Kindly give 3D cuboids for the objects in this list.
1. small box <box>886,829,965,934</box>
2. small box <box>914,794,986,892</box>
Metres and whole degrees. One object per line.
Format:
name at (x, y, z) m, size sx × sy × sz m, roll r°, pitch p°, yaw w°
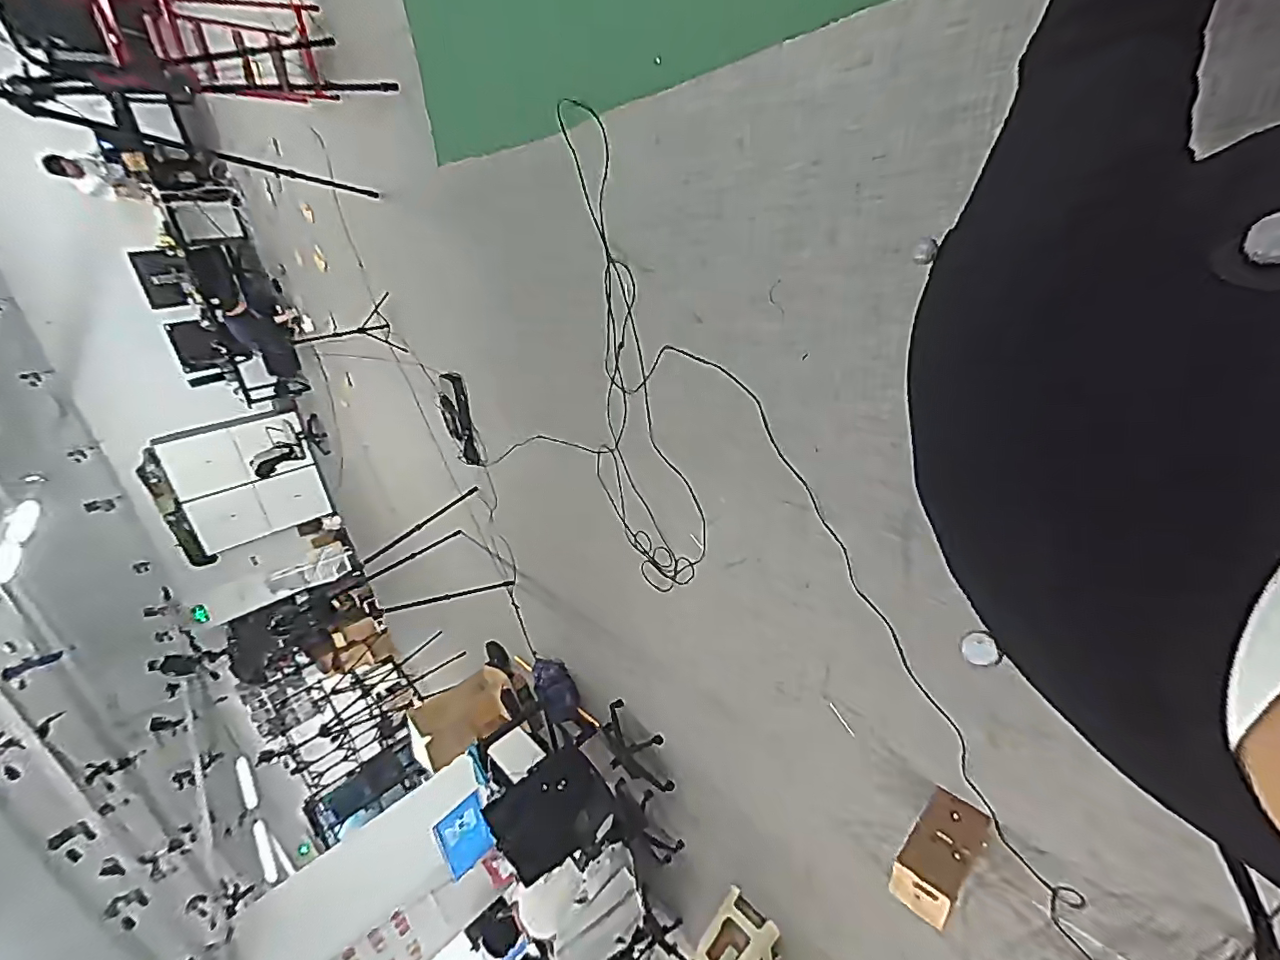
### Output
small box at (0.911, 1.268, 1.720) m, size 0.168 × 0.176 × 0.179 m, roll 21°, pitch 126°, yaw 43°
small box at (1.035, 1.208, 1.815) m, size 0.168 × 0.176 × 0.179 m, roll 20°, pitch 123°, yaw 47°
